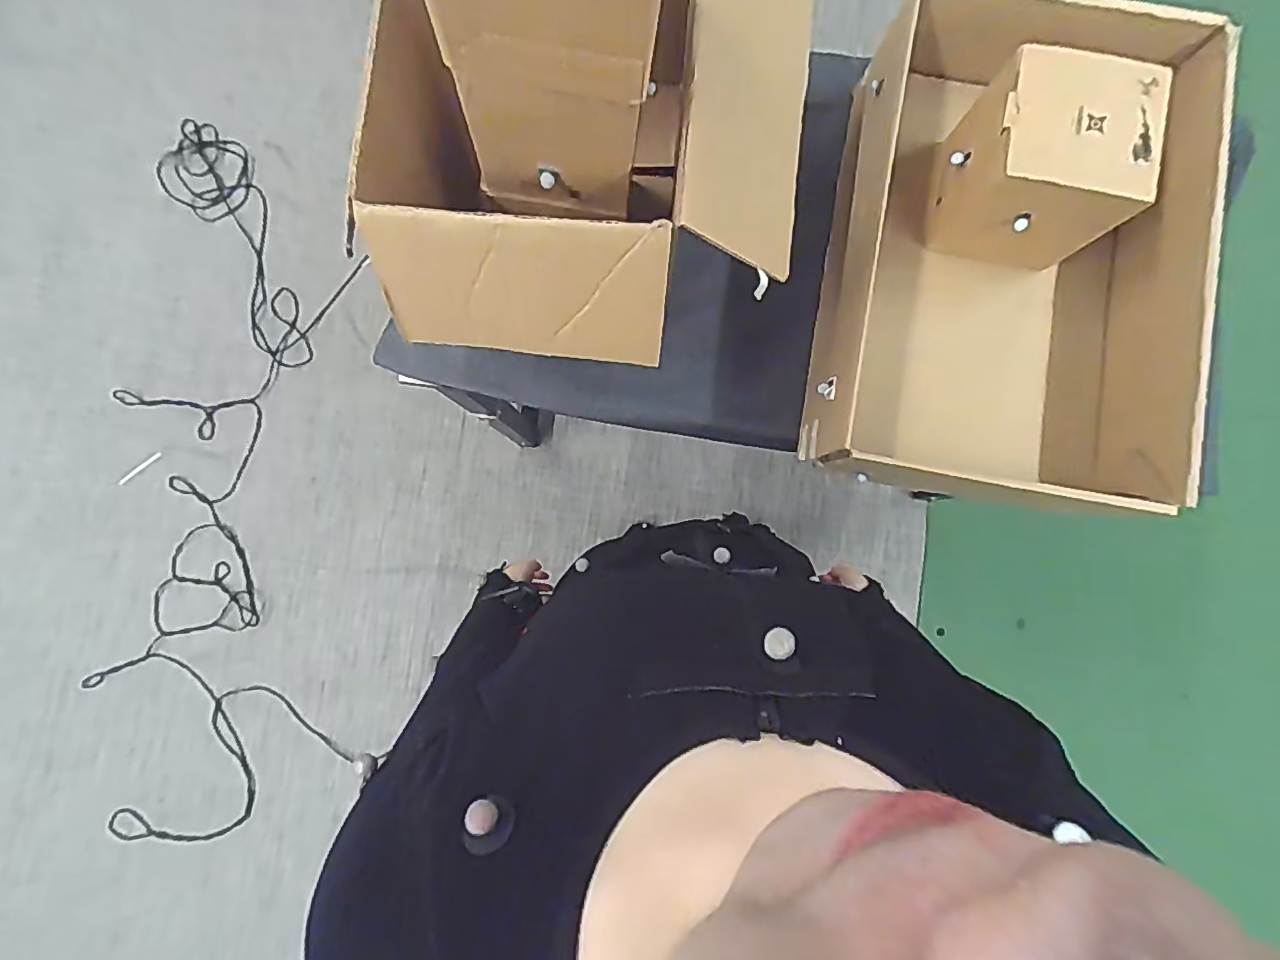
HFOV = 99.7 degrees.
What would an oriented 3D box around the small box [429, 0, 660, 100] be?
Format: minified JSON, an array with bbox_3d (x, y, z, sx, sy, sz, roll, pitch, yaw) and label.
[{"bbox_3d":[-0.066,-0.427,0.399,0.179,0.176,0.168,9,83,-4],"label":"small box"}]

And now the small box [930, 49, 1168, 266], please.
[{"bbox_3d":[0.506,-0.398,0.695,0.179,0.176,0.168,11,86,2],"label":"small box"}]
